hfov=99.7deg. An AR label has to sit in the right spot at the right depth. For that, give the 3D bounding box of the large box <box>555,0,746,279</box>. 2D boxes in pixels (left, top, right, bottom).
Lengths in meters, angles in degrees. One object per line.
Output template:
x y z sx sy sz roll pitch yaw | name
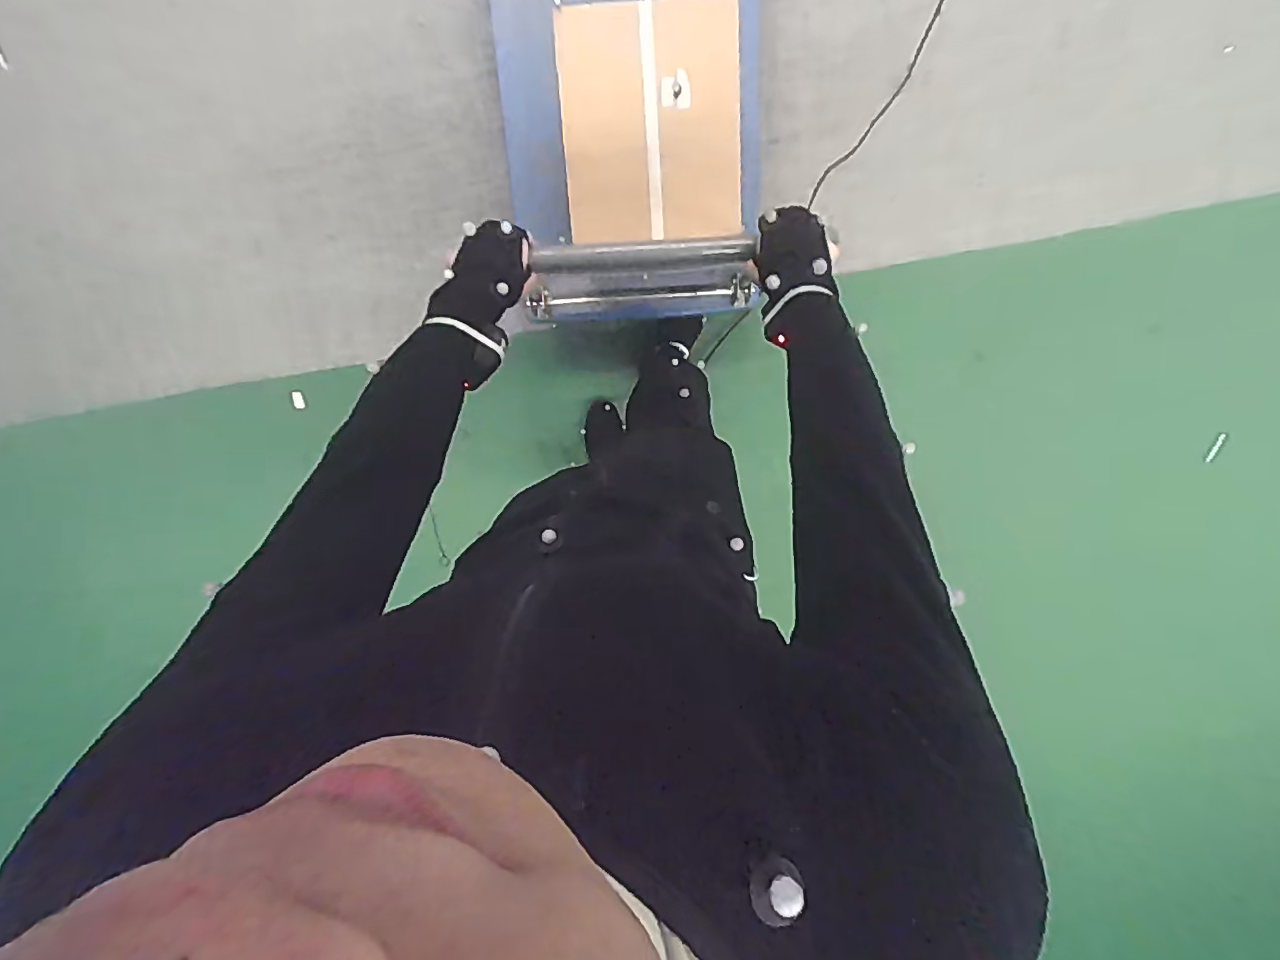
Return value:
0.027 -0.640 1.083 0.320 0.320 0.408 -4 105 0 | large box
